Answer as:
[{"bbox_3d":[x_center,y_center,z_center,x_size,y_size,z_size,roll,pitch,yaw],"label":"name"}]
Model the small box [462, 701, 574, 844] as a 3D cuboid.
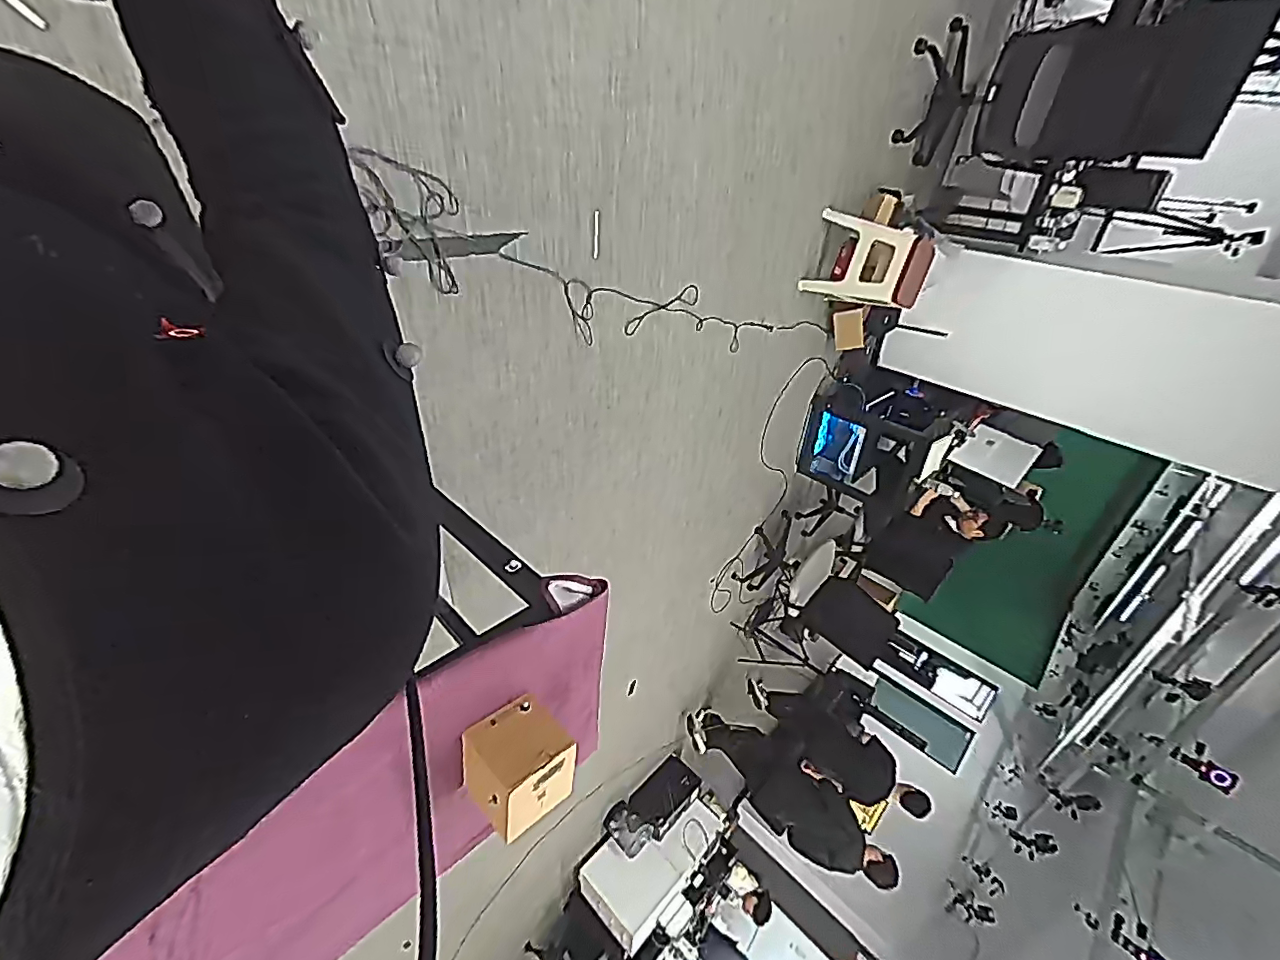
[{"bbox_3d":[-0.258,0.594,1.130,0.168,0.176,0.179,-20,129,-43],"label":"small box"}]
